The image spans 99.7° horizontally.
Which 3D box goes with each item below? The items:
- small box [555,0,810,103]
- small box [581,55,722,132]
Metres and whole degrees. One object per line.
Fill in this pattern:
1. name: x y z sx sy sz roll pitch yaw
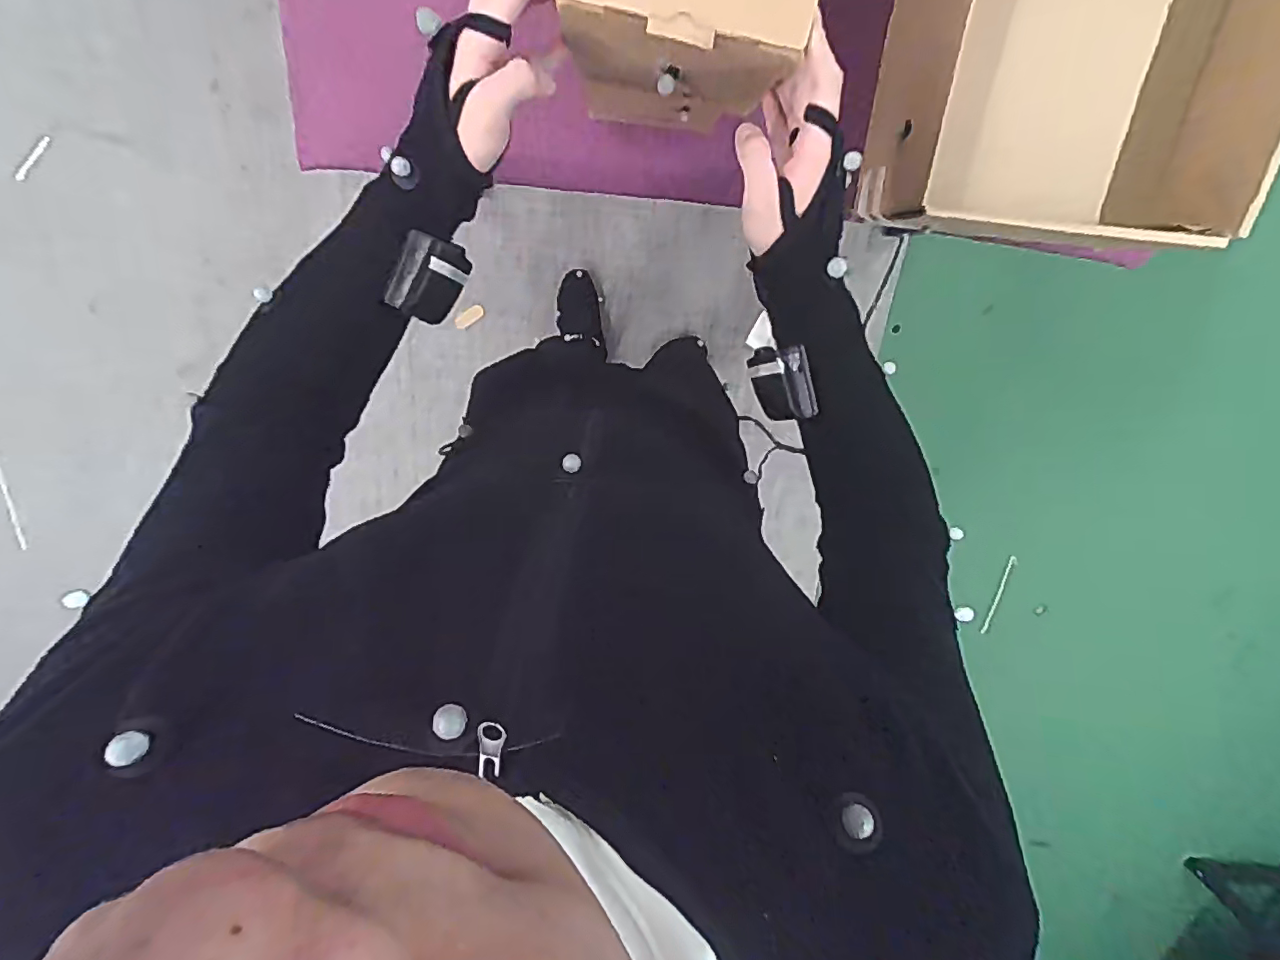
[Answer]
1. small box: 0.039 -0.402 0.390 0.168 0.176 0.179 8 113 -6
2. small box: 0.024 -0.524 0.618 0.168 0.176 0.179 4 109 -6
